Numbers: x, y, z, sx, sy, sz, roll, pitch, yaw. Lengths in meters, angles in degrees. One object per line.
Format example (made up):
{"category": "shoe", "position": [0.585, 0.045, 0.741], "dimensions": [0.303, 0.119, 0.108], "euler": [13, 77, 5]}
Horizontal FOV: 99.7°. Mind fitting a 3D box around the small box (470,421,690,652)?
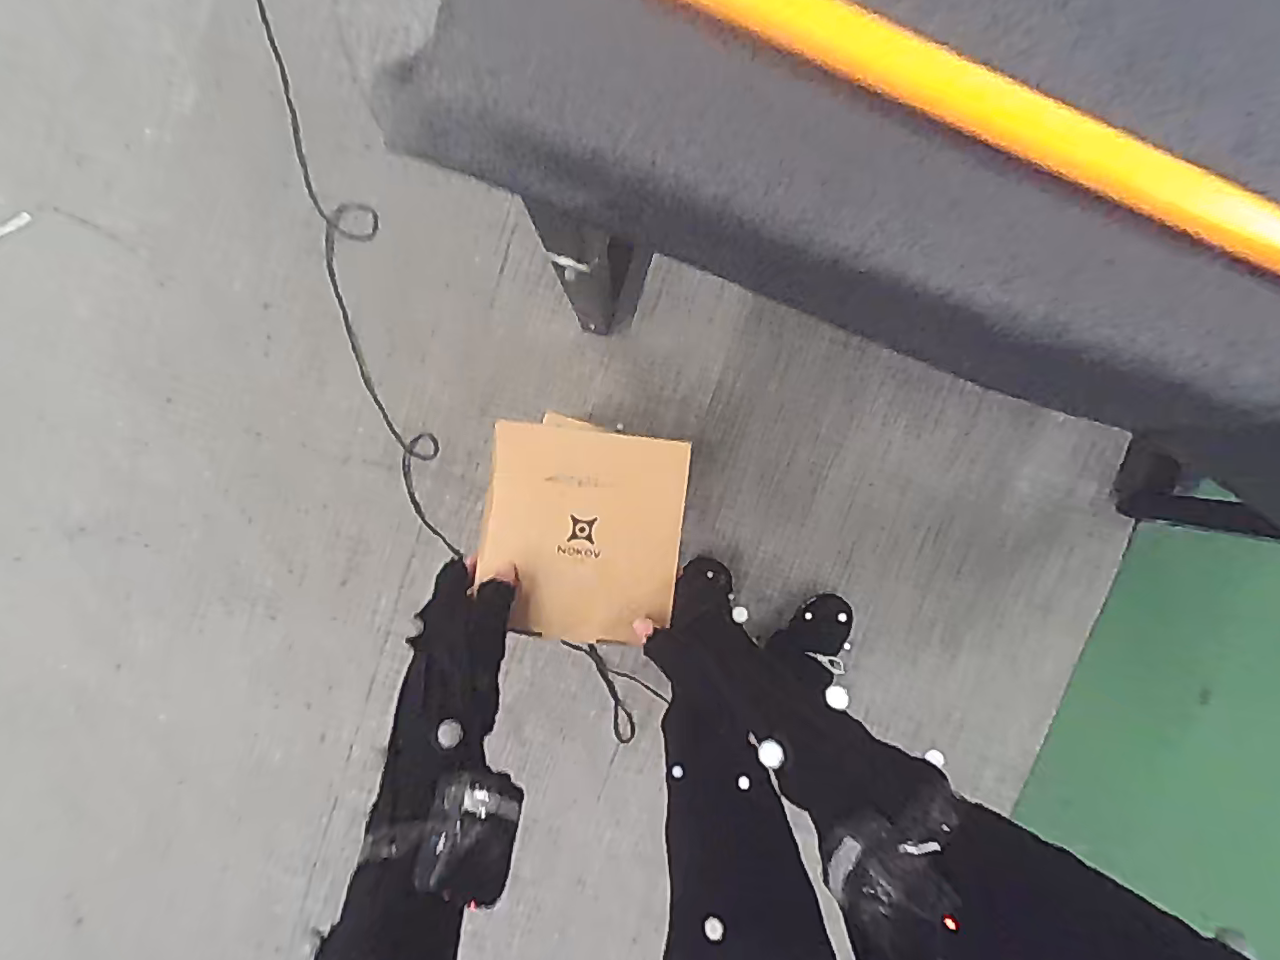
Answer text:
{"category": "small box", "position": [-0.052, 0.050, 0.524], "dimensions": [0.168, 0.176, 0.179], "euler": [7, 86, -3]}
